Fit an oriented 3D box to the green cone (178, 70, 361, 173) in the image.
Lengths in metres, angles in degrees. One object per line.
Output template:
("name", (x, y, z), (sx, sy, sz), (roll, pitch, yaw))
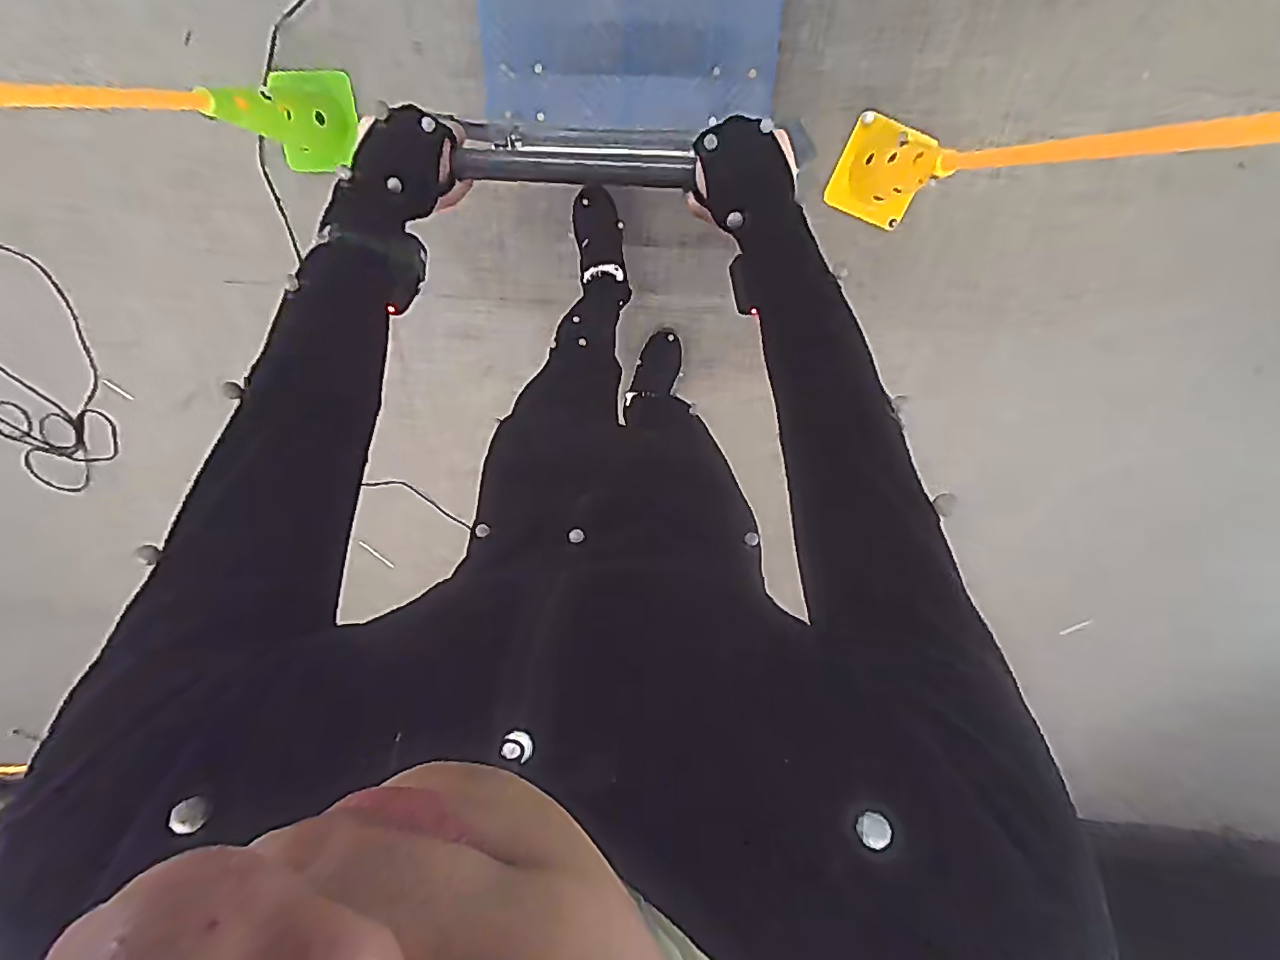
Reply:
("green cone", (-0.787, -0.764, 1.124), (0.202, 0.368, 0.200), (1, 117, 5))
